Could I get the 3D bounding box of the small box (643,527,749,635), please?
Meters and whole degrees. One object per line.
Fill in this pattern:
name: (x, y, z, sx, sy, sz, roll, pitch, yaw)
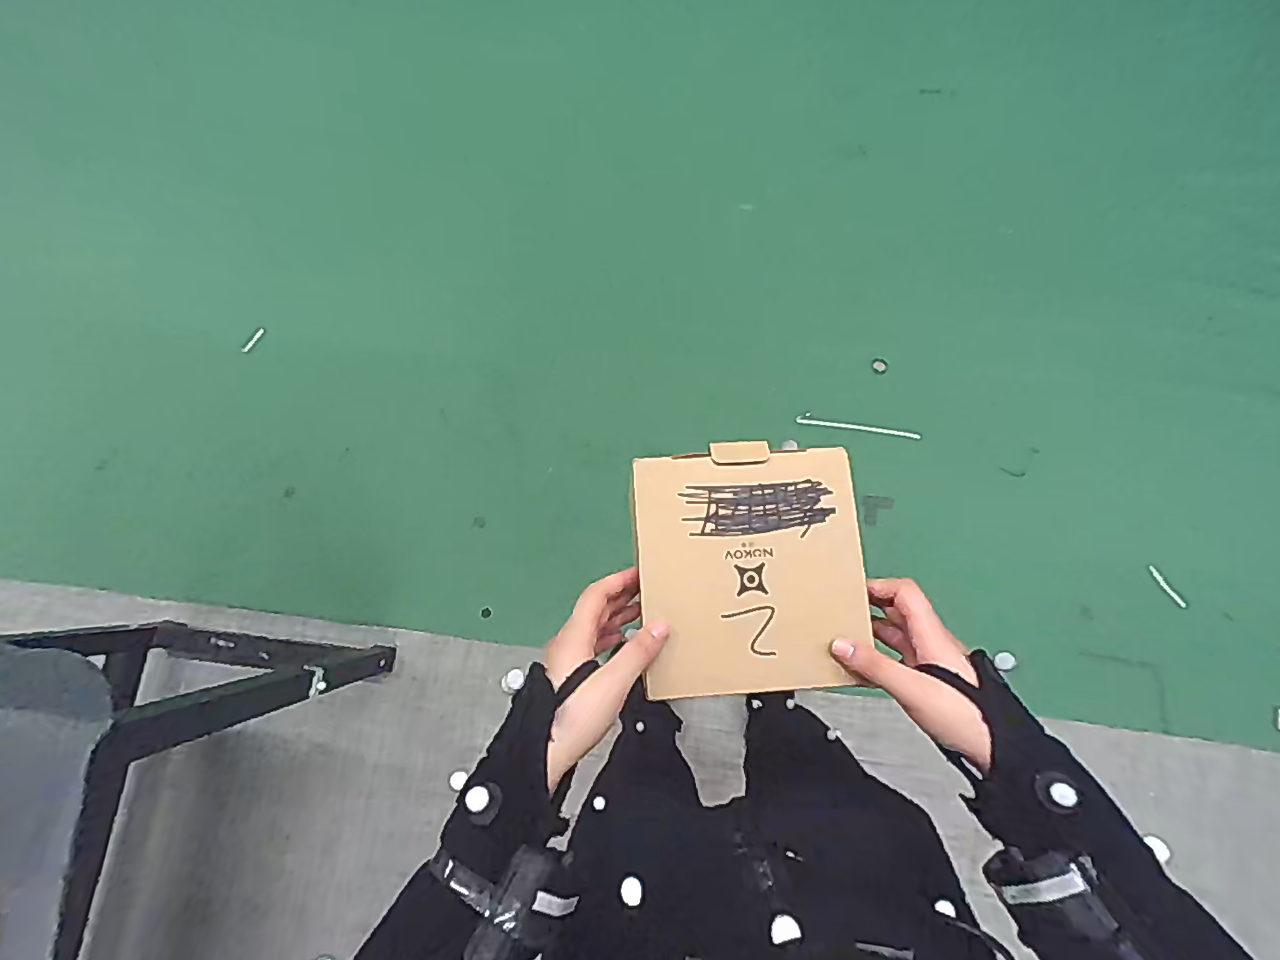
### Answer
small box: (0.123, 0.229, 1.240, 0.168, 0.176, 0.179, -37, 81, -6)
